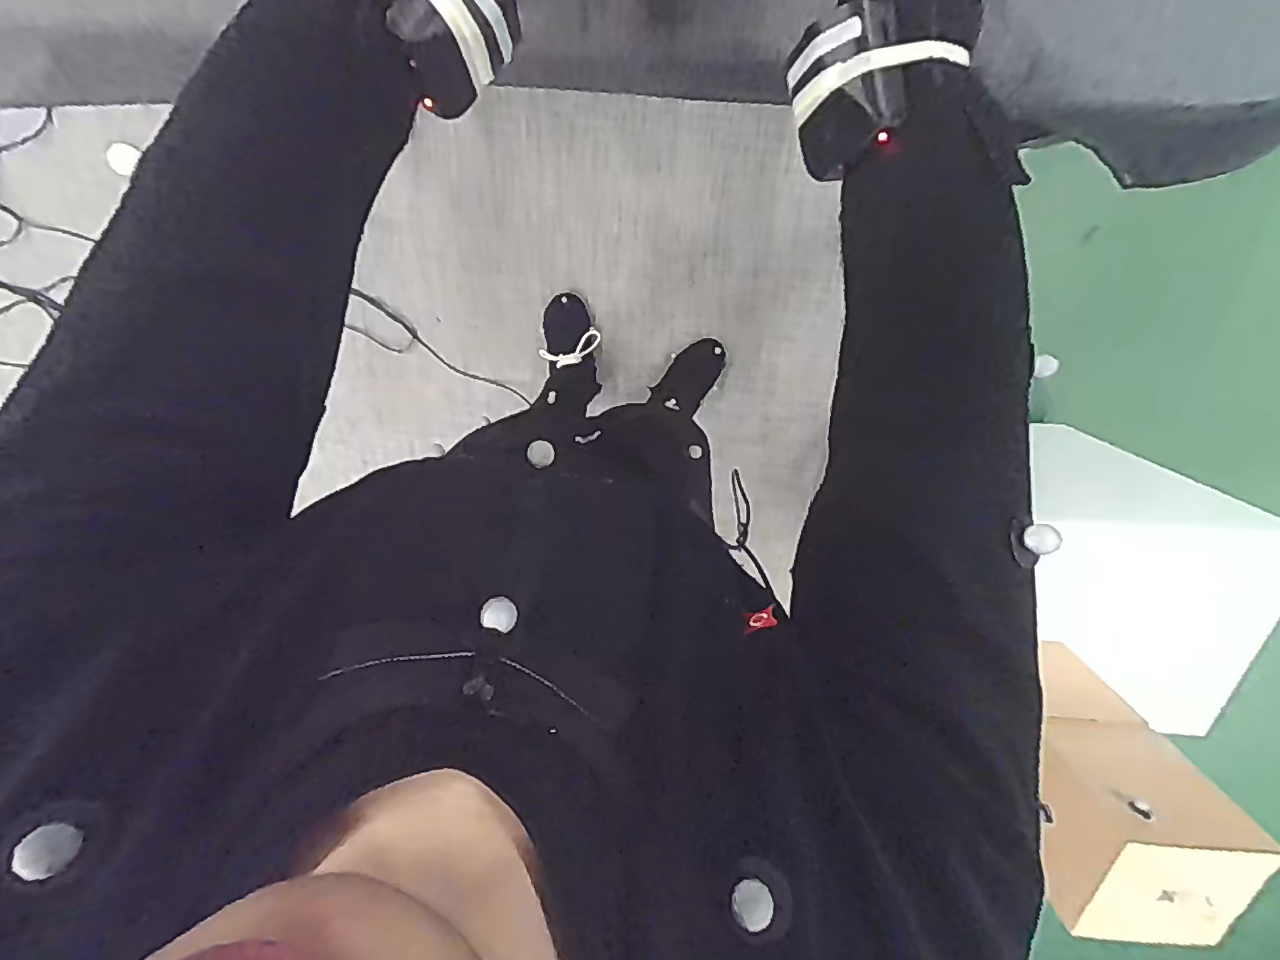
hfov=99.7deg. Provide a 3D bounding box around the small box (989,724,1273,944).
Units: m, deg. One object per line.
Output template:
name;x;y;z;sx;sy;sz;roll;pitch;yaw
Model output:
small box;0.588;0.434;0.682;0.179;0.176;0.168;4;113;-2
